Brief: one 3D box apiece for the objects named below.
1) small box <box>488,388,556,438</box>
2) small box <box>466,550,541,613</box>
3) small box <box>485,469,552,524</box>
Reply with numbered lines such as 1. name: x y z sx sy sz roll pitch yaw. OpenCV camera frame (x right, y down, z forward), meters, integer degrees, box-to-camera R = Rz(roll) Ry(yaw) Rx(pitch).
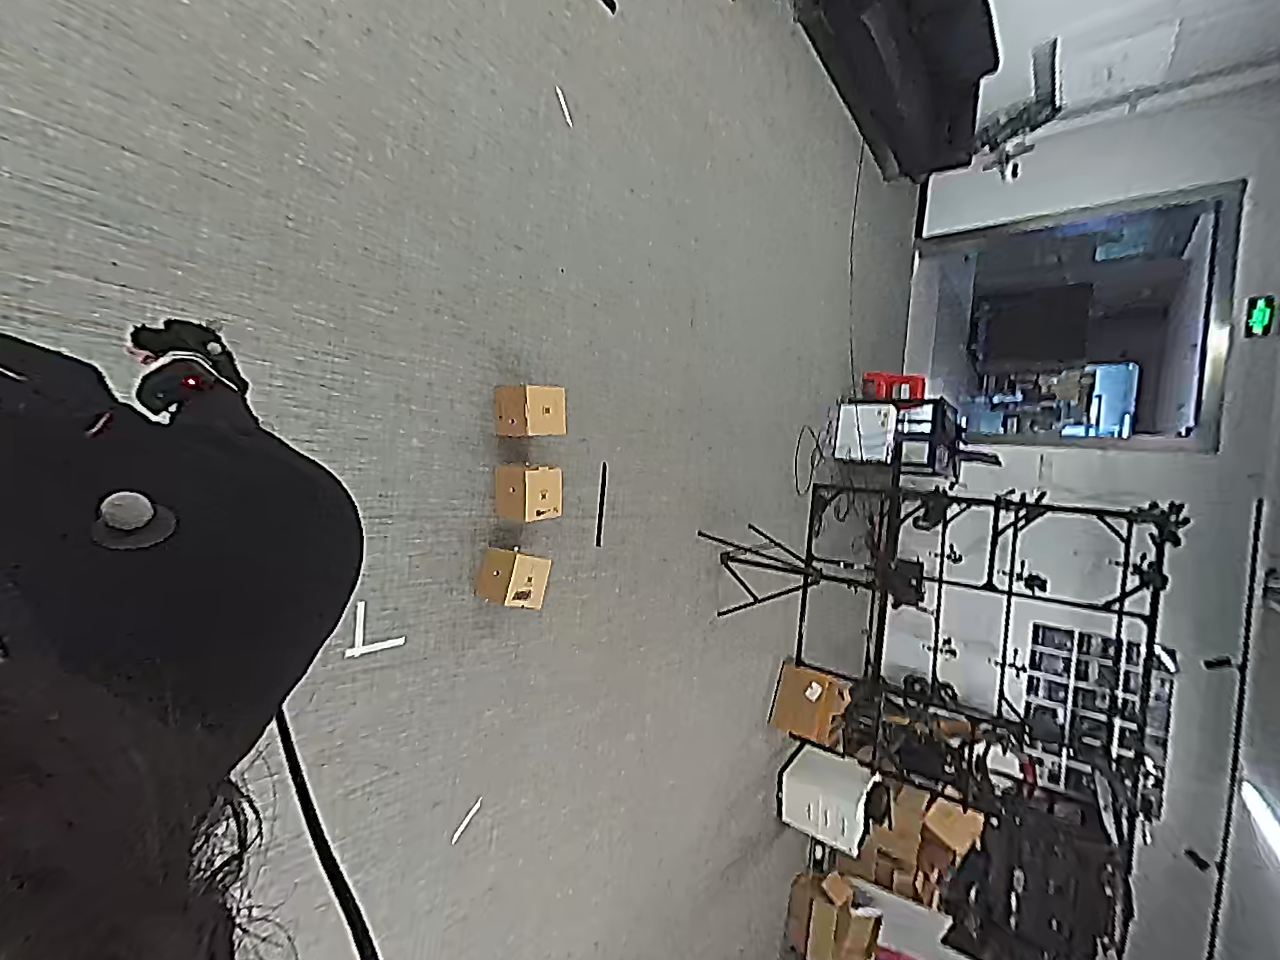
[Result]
1. small box: -0.412 -0.231 1.871 0.179 0.176 0.168 -10 103 -52
2. small box: -0.474 0.350 1.863 0.168 0.176 0.179 24 75 -51
3. small box: -0.425 0.052 1.888 0.168 0.176 0.179 -6 99 -51
